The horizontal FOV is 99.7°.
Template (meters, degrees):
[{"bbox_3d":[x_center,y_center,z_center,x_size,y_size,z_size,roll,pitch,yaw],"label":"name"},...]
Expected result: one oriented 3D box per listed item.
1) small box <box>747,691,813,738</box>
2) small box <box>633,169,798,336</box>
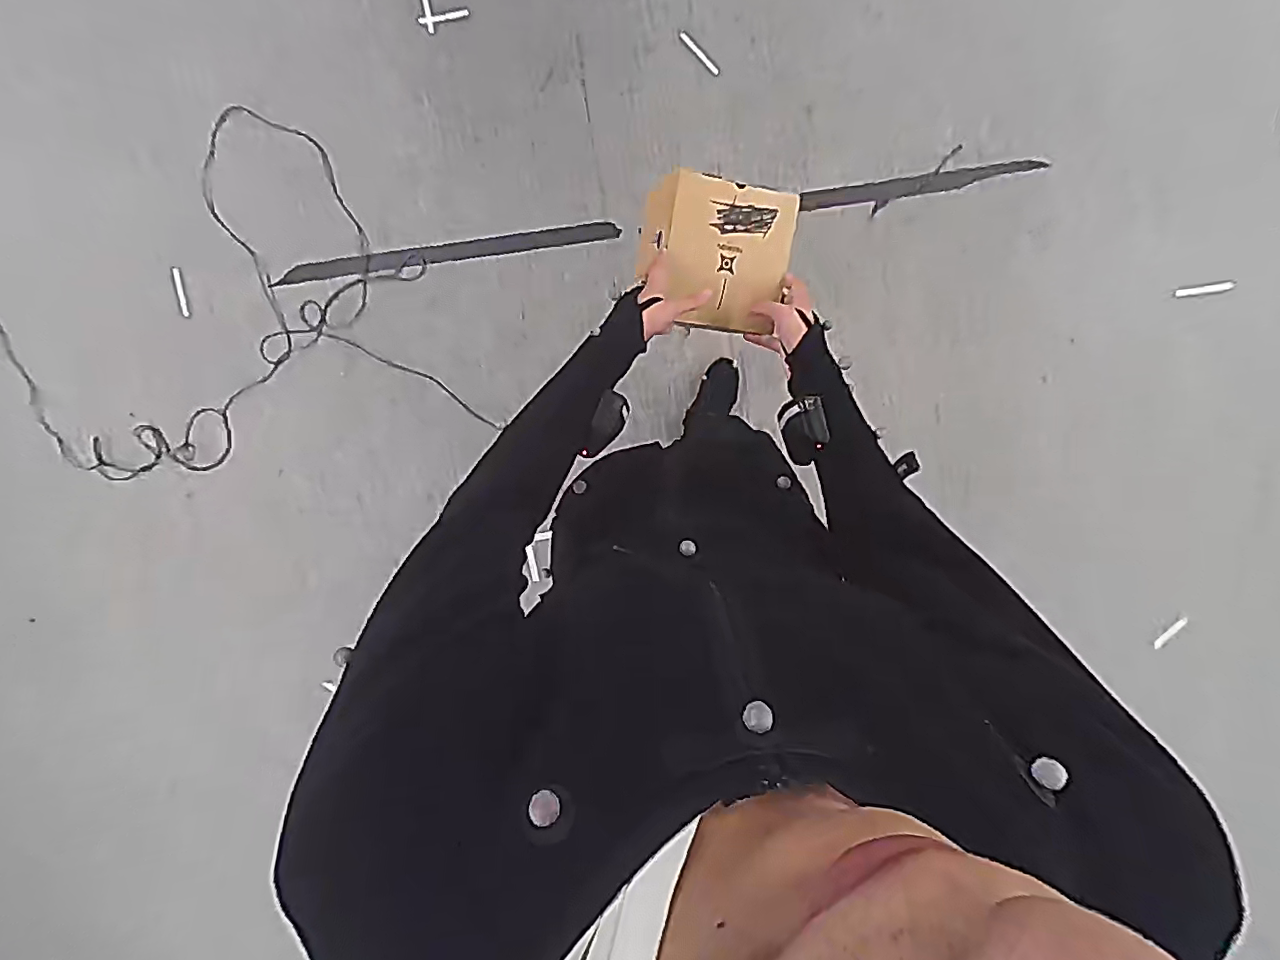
[{"bbox_3d":[0.433,0.781,1.659,0.168,0.176,0.179,-12,98,2],"label":"small box"},{"bbox_3d":[0.092,-0.303,0.755,0.168,0.176,0.179,4,106,-14],"label":"small box"}]
